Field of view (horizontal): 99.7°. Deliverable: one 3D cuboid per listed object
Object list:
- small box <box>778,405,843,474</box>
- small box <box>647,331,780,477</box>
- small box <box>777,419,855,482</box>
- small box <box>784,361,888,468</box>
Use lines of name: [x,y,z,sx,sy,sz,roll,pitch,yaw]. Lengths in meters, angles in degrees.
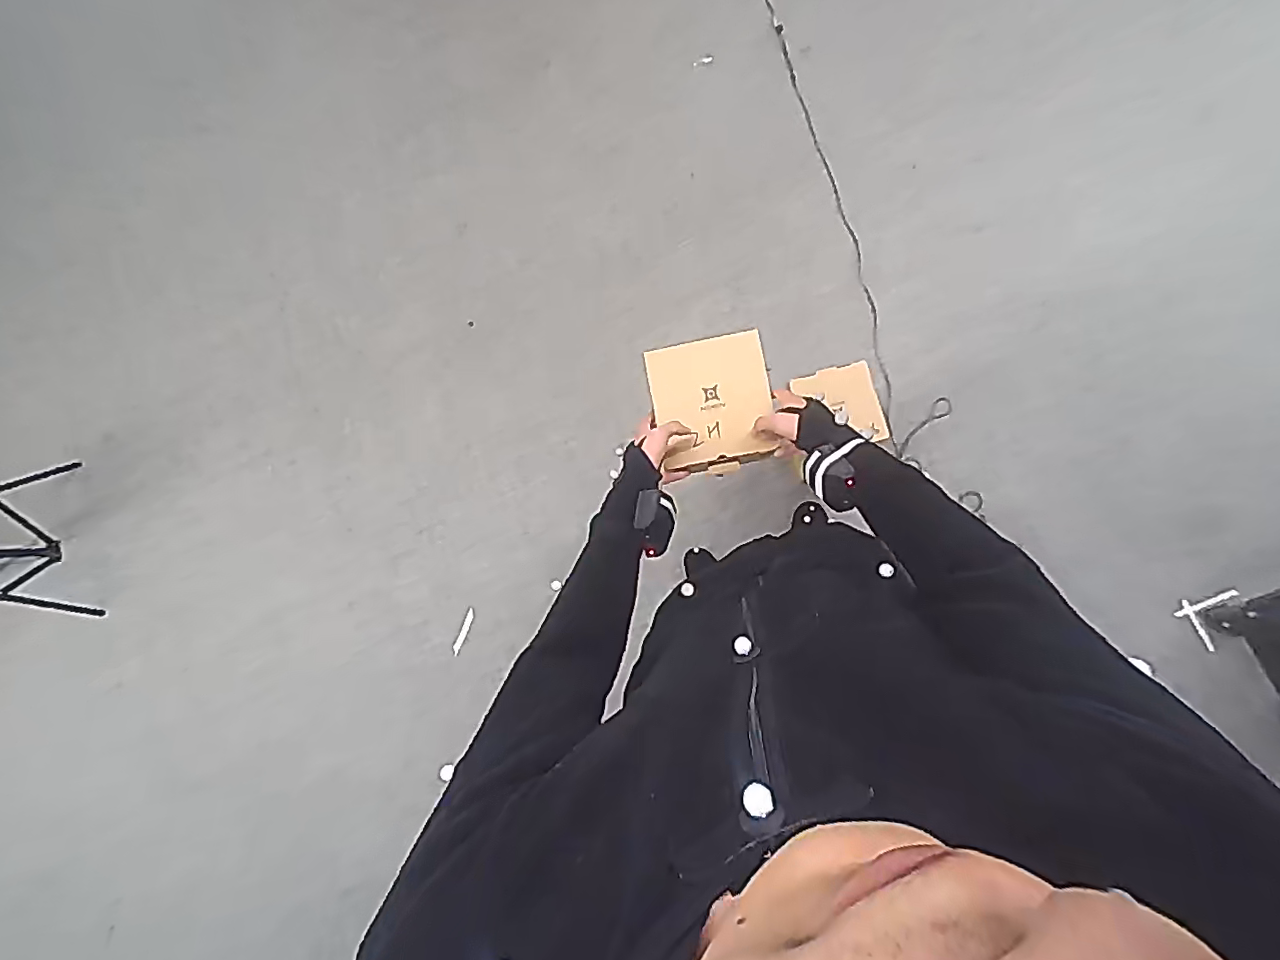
small box: [0.461,-0.124,1.368,0.179,0.176,0.168,-22,80,8]
small box: [0.109,-0.108,0.839,0.168,0.176,0.179,-11,86,6]
small box: [0.491,-0.108,1.527,0.168,0.176,0.179,-24,80,8]
small box: [0.427,-0.139,1.208,0.168,0.176,0.179,-15,80,10]
